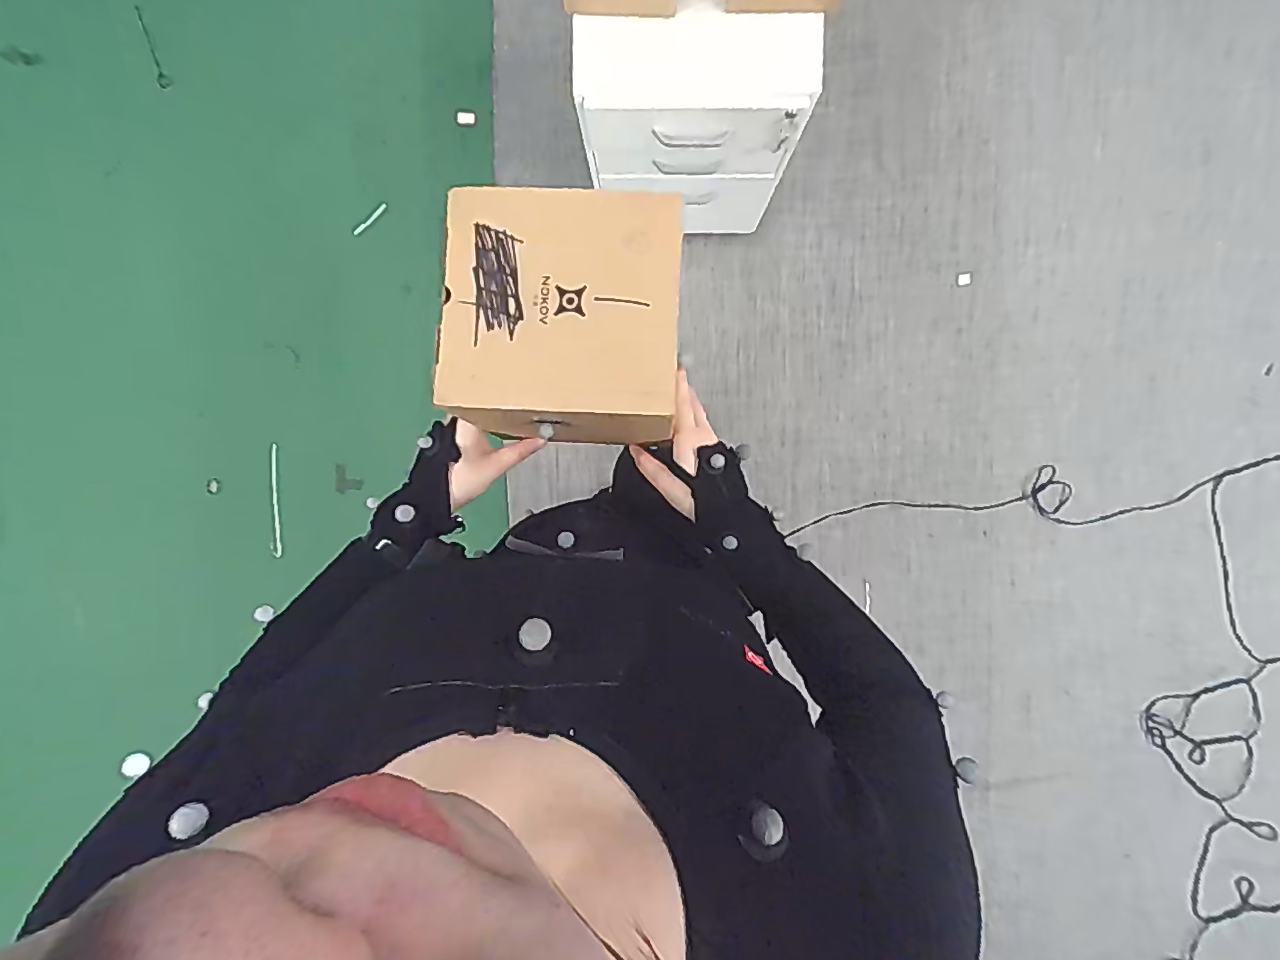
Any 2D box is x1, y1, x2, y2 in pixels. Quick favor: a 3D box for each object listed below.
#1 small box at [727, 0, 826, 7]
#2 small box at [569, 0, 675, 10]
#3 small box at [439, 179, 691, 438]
[{"bbox_3d":[0.218,-0.808,0.752,0.179,0.176,0.168,2,93,3],"label":"small box"},{"bbox_3d":[-0.027,-0.807,0.754,0.179,0.176,0.168,2,94,0],"label":"small box"},{"bbox_3d":[-0.051,-0.130,0.470,0.179,0.176,0.168,3,87,2],"label":"small box"}]
